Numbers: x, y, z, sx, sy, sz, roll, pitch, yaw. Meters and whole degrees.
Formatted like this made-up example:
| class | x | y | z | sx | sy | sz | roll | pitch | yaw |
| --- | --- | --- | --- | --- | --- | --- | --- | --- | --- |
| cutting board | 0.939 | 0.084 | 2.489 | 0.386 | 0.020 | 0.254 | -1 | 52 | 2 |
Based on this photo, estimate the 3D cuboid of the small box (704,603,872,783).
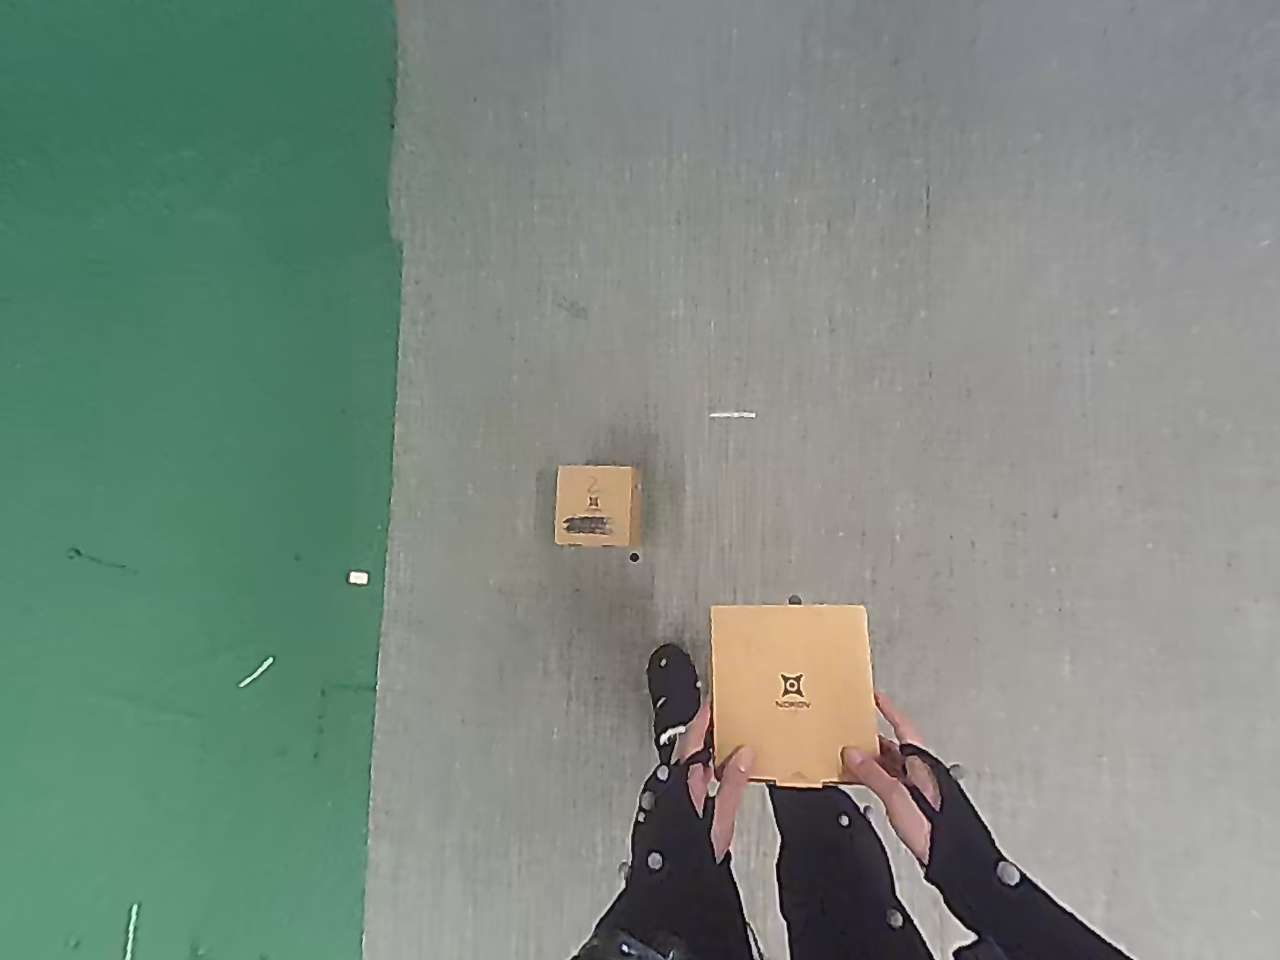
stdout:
| class | x | y | z | sx | sy | sz | roll | pitch | yaw |
| --- | --- | --- | --- | --- | --- | --- | --- | --- | --- |
| small box | 0.161 | 0.242 | 0.647 | 0.168 | 0.176 | 0.179 | -1 | 75 | 6 |
